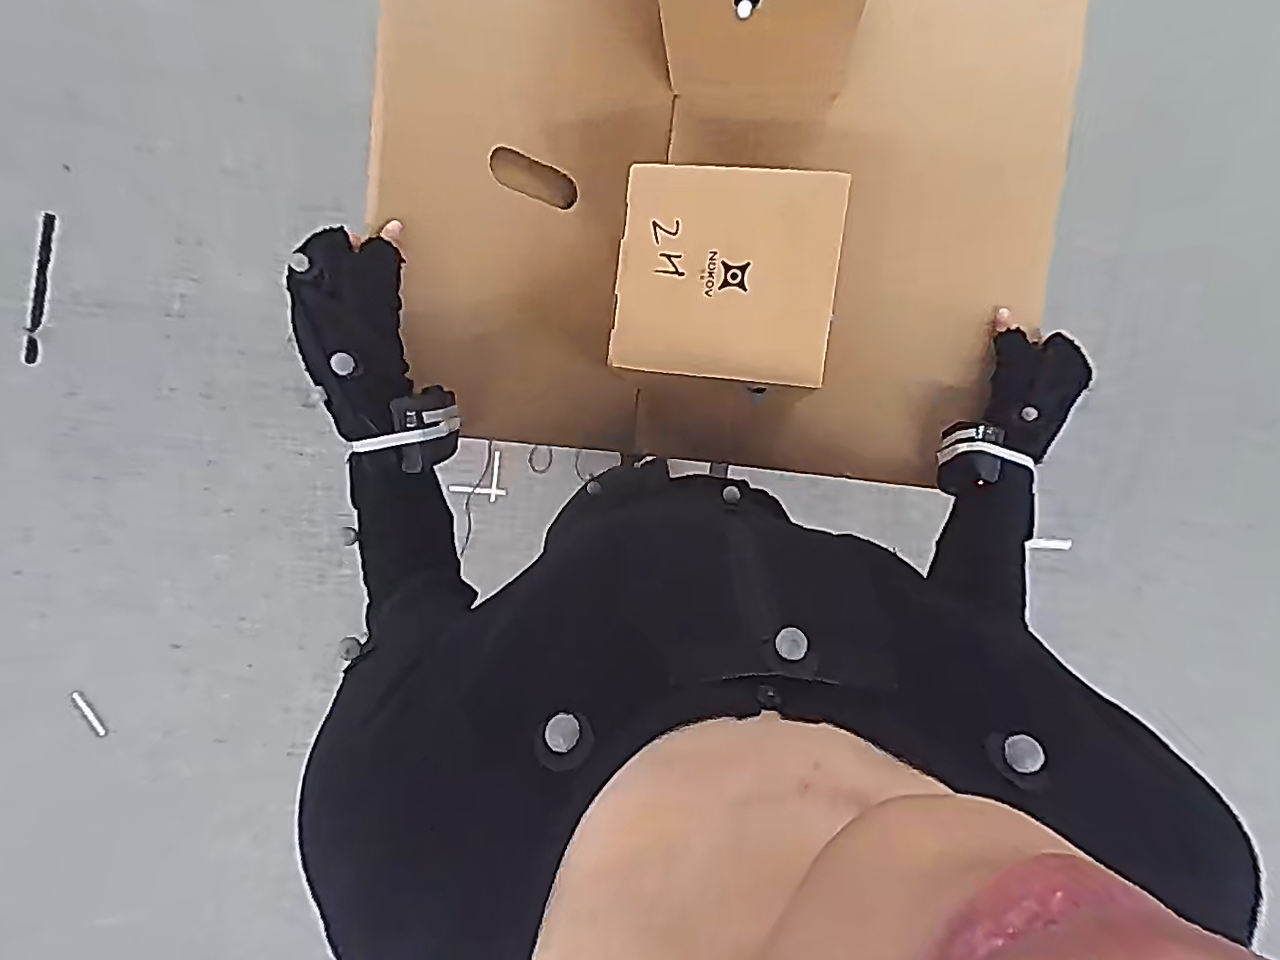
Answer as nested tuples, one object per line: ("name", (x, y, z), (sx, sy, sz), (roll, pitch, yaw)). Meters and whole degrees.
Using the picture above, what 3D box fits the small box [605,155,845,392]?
("small box", (0.078, -0.180, 0.519), (0.179, 0.176, 0.168), (8, 94, 9))

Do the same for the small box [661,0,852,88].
("small box", (0.111, -0.496, 0.496), (0.179, 0.176, 0.168), (6, 94, 8))
